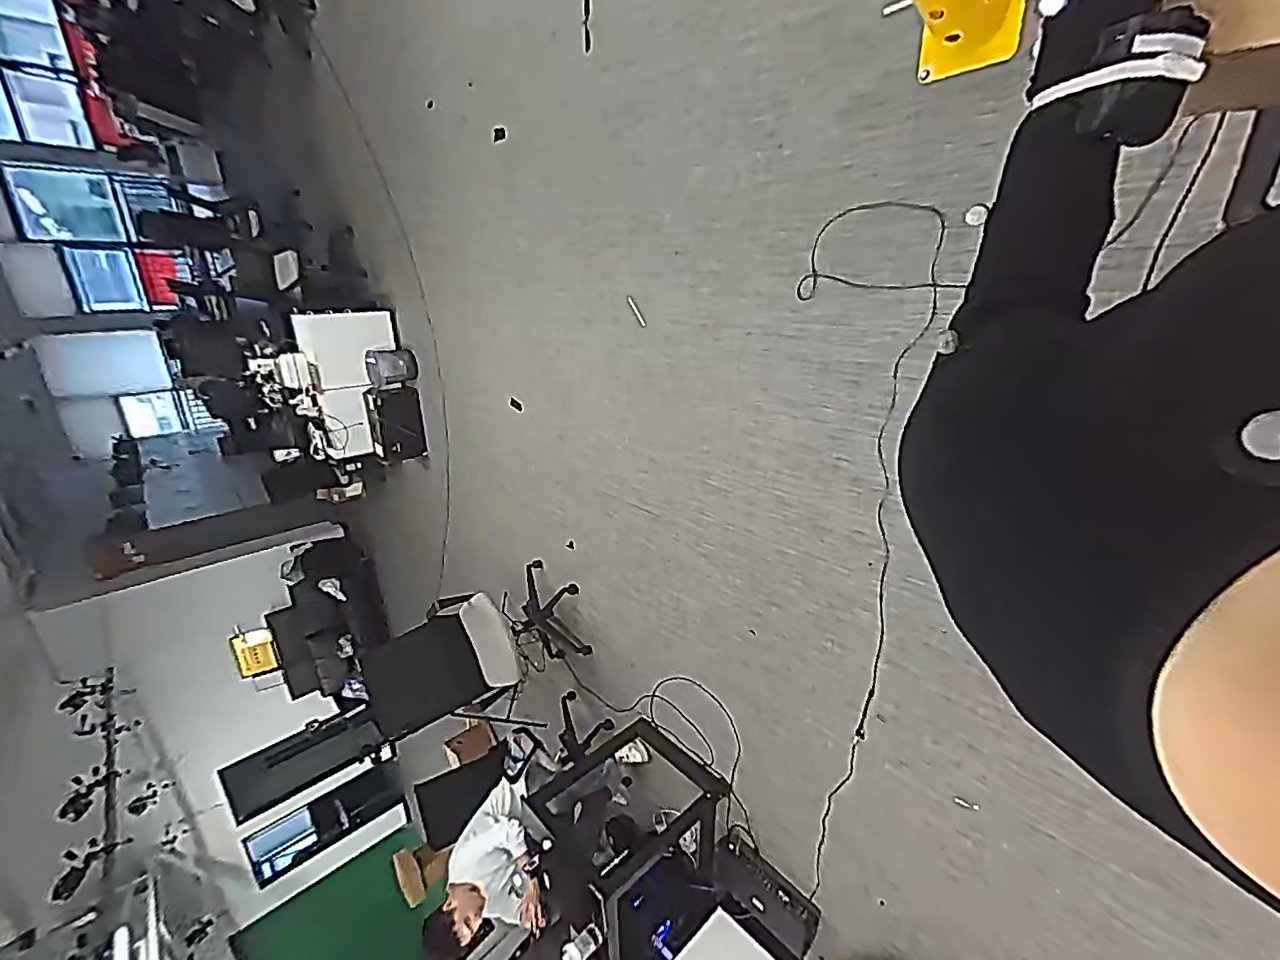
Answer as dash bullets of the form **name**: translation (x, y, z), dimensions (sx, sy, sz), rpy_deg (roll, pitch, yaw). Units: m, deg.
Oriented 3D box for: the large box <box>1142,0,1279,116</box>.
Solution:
- **large box**: translation (0.577, -0.418, 0.274), dimensions (0.408, 0.320, 0.320), rpy_deg (21, 123, 41)
